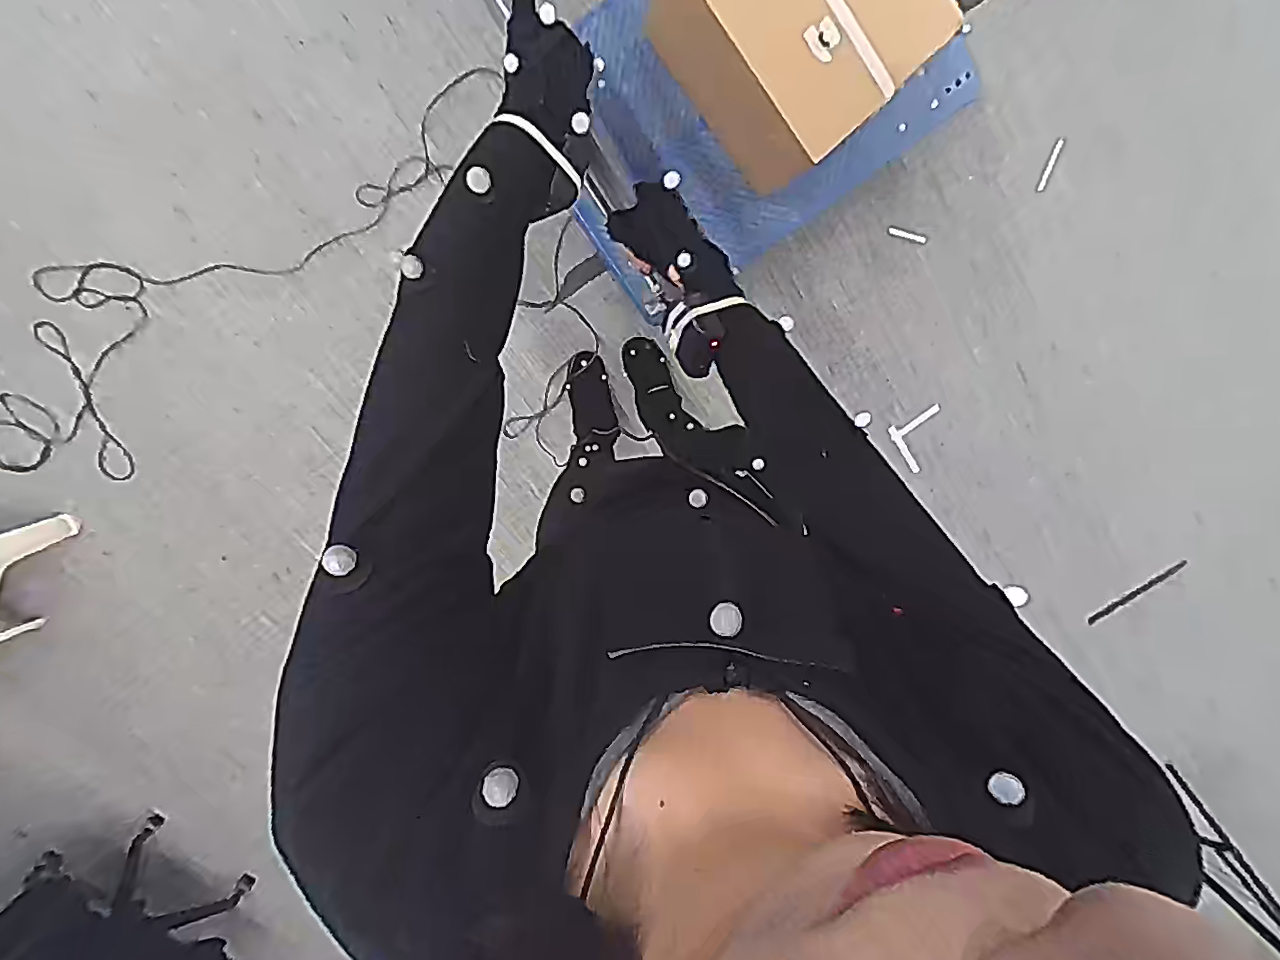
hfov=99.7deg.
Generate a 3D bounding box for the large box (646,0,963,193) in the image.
[{"bbox_3d":[0.265,-0.819,0.978,0.320,0.320,0.408,-41,107,9],"label":"large box"}]
